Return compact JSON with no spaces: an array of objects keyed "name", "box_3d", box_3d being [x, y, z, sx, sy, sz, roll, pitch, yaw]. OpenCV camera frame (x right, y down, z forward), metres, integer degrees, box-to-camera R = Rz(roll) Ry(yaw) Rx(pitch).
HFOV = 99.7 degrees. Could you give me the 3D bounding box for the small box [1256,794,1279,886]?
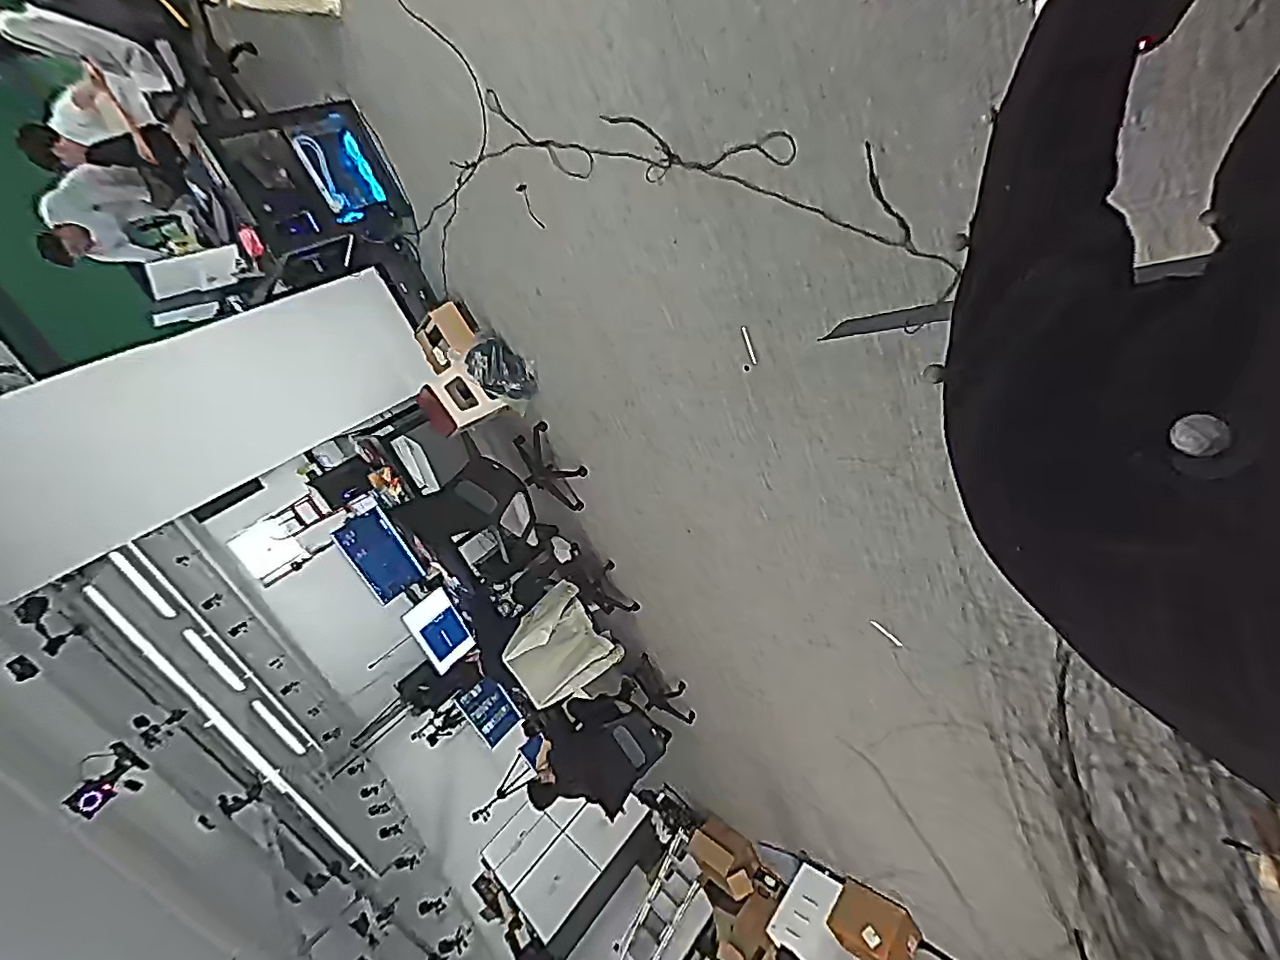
[{"name":"small box","box_3d":[1.813,1.008,1.476,0.168,0.176,0.179,2,125,52]}]
